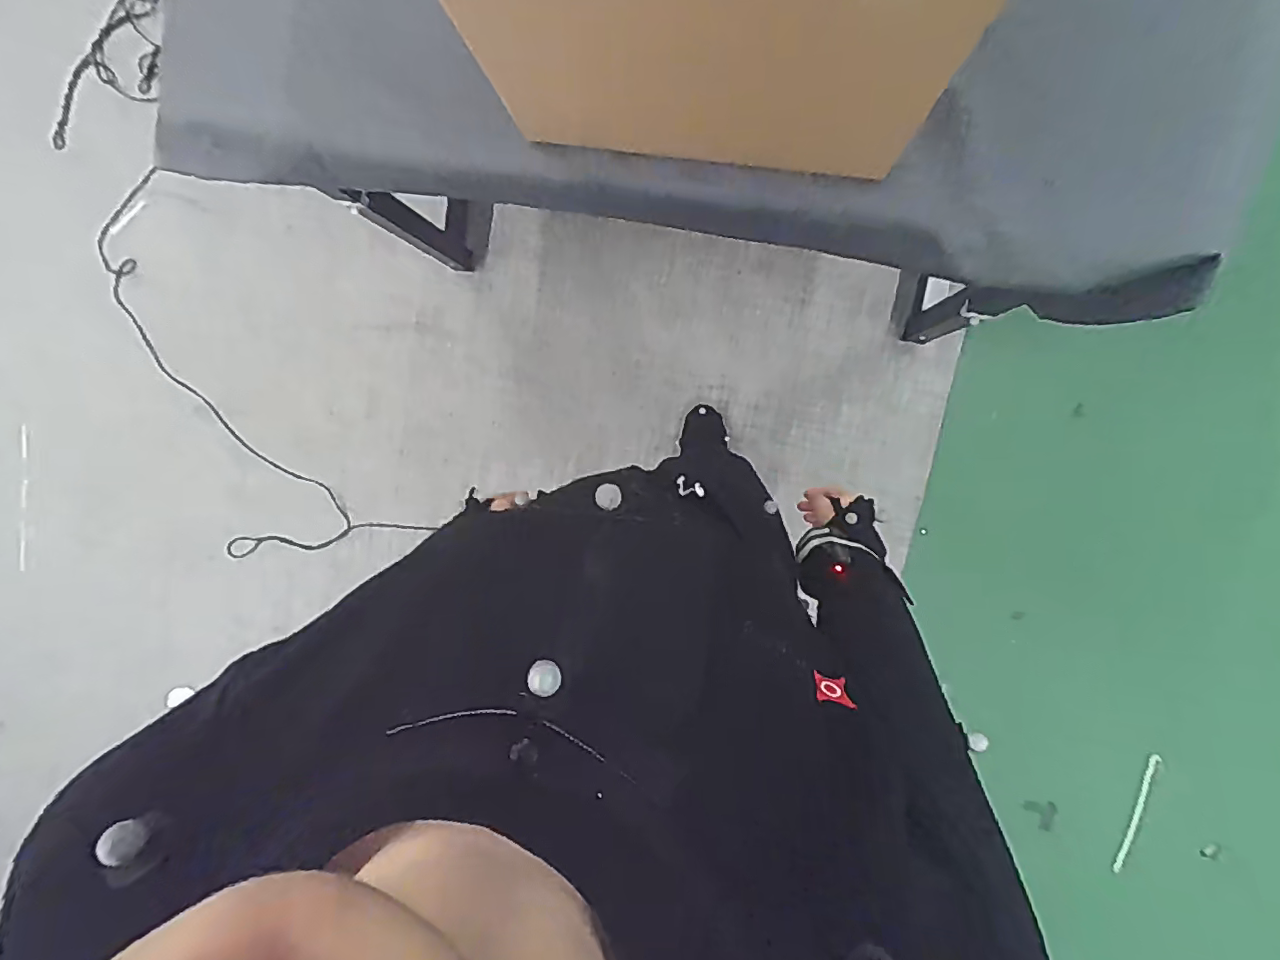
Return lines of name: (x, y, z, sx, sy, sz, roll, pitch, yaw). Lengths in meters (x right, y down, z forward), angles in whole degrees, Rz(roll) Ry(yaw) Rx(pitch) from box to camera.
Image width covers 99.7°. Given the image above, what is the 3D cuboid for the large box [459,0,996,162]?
large box: (0.072, -0.501, 0.434, 0.408, 0.320, 0.320, 9, 97, 5)
